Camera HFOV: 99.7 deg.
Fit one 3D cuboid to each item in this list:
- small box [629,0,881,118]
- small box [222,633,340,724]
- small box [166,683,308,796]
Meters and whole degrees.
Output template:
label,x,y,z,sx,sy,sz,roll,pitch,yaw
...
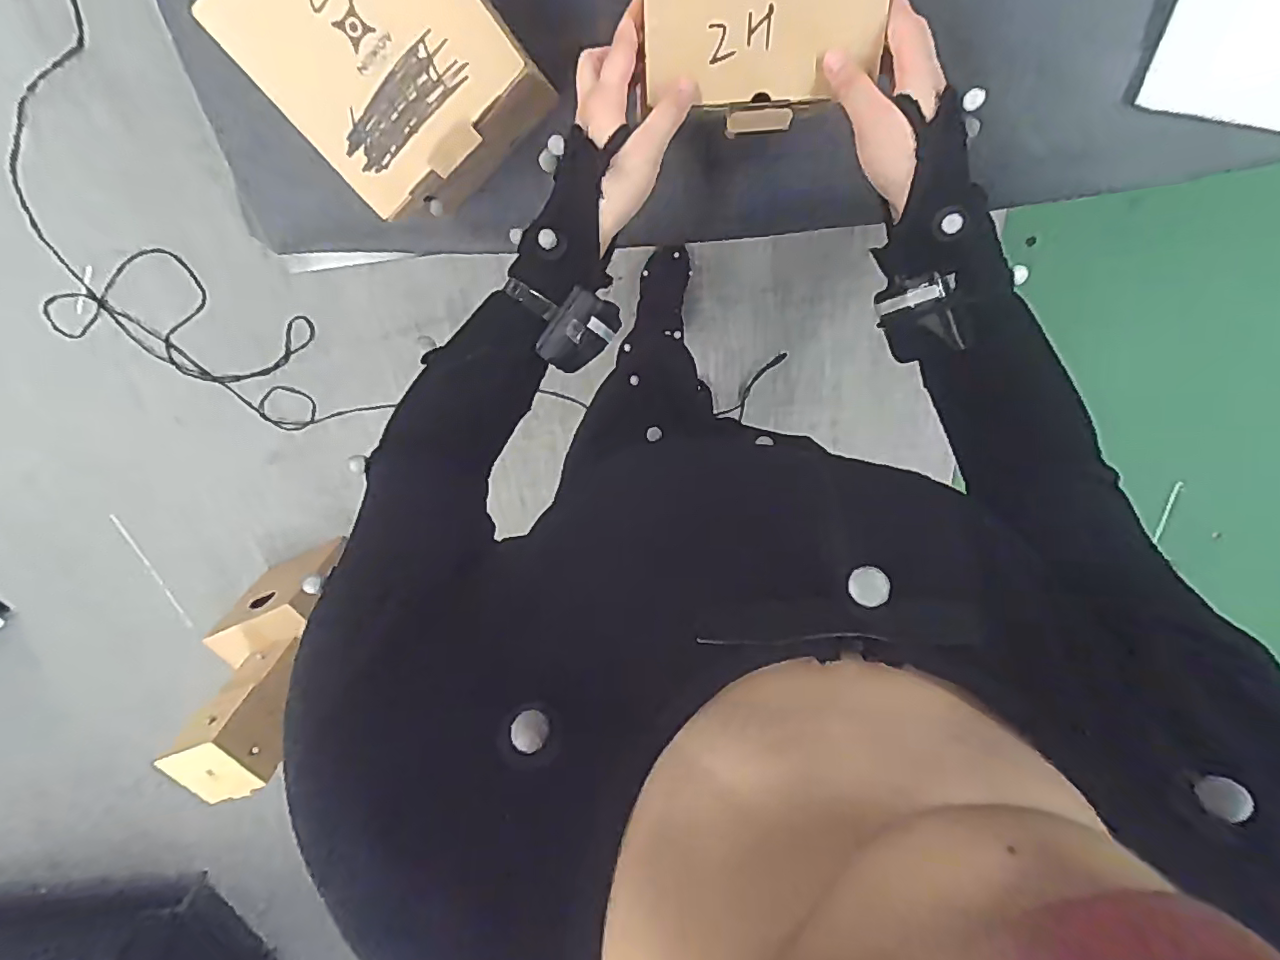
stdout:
label,x,y,z,sx,sy,sz,roll,pitch,yaw
small box,0.075,-0.389,0.411,0.168,0.176,0.179,-3,121,0
small box,-0.954,0.547,1.451,0.168,0.176,0.179,-22,116,11
small box,-0.958,0.615,1.303,0.168,0.176,0.179,-22,117,11
